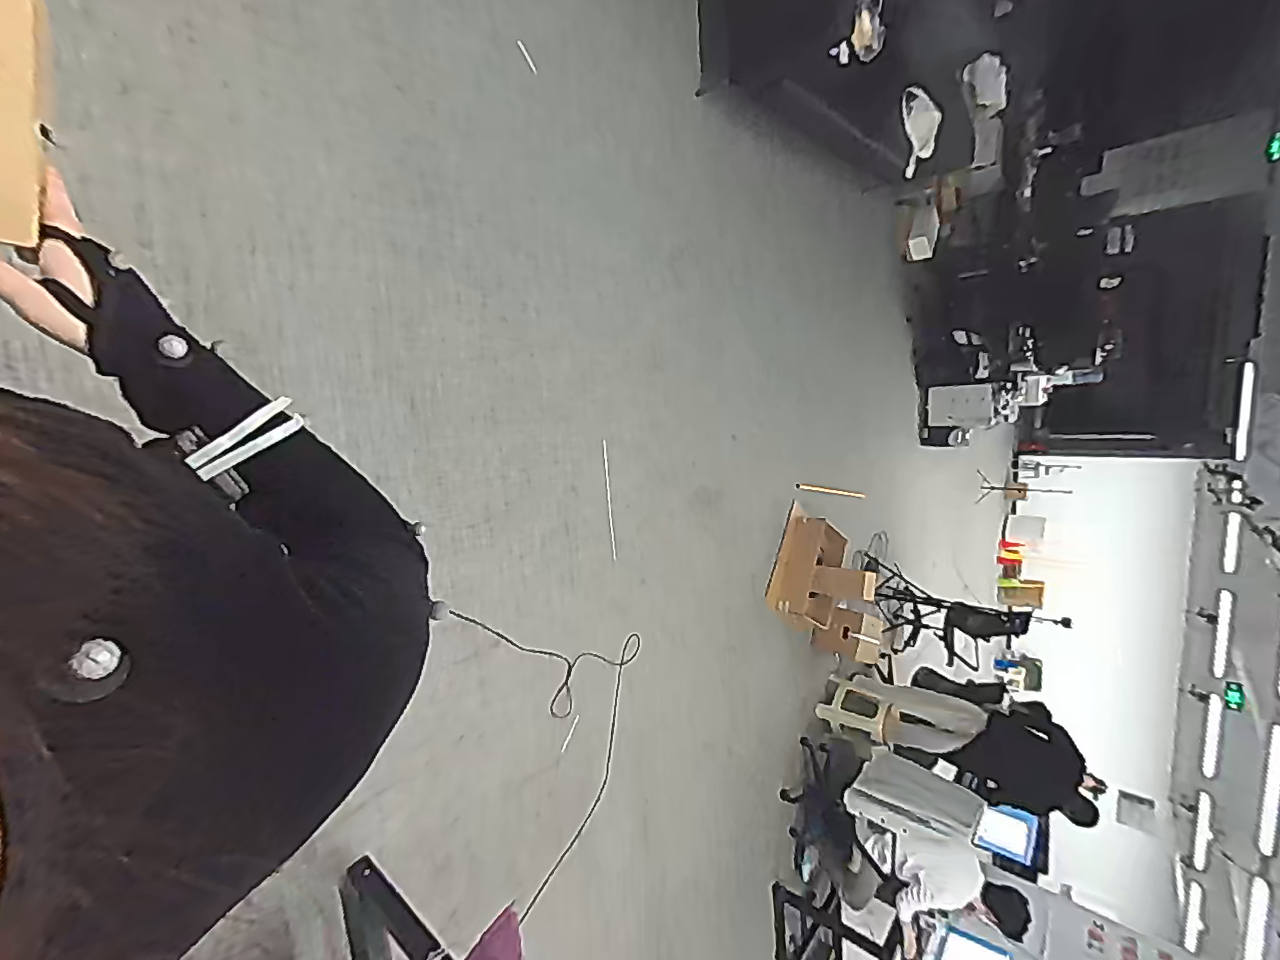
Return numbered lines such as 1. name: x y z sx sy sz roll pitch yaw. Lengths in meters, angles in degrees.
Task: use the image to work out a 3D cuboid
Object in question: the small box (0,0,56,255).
1. small box: -0.501 -0.259 0.346 0.168 0.176 0.179 1 107 -44
